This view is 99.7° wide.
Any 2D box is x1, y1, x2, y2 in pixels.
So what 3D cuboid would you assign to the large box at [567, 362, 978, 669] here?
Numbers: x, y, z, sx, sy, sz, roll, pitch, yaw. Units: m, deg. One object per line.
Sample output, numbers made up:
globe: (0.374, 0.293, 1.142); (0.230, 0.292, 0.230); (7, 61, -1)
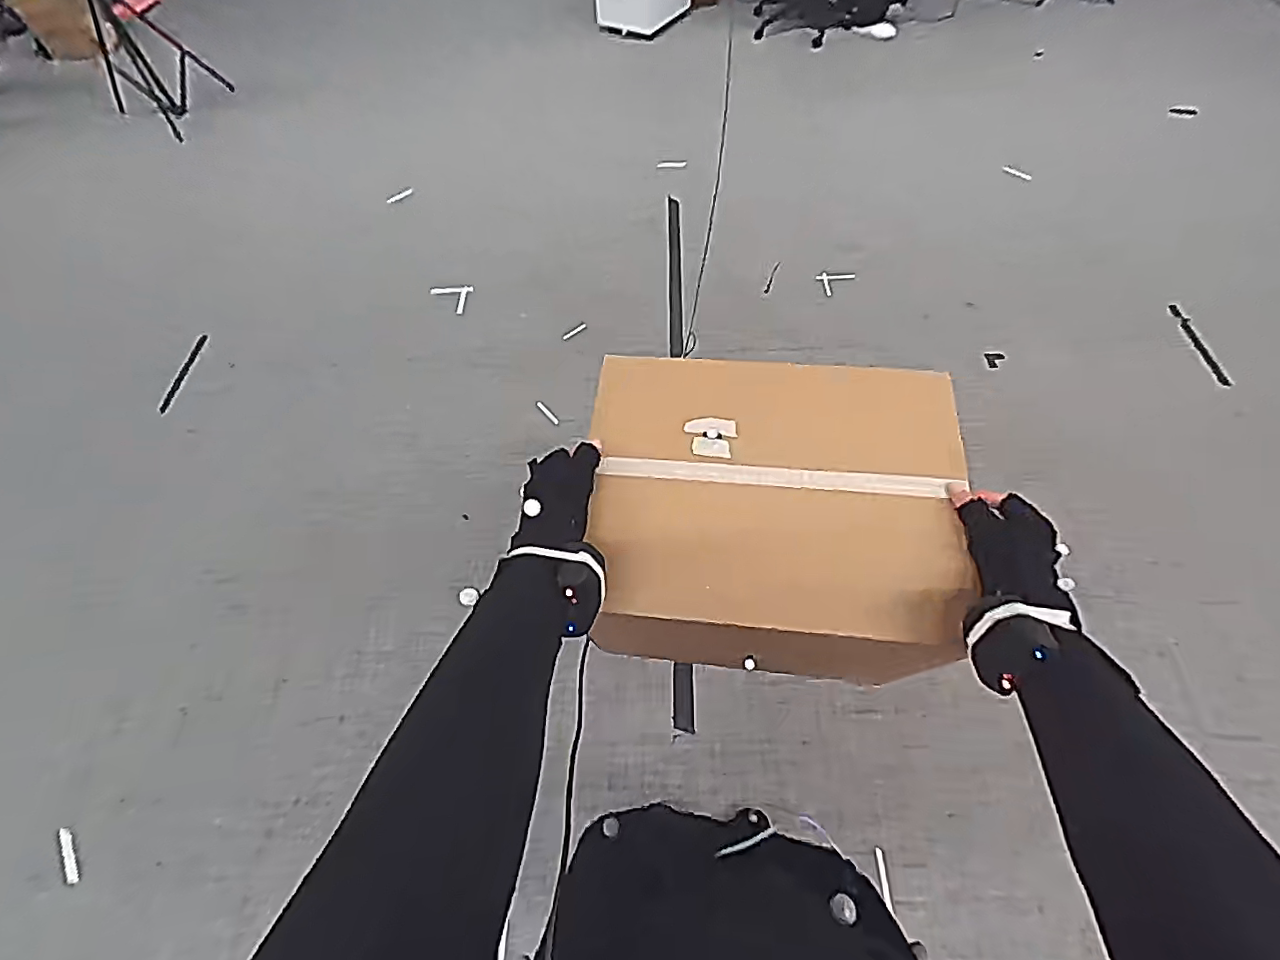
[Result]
large box: (0.151, 0.063, 0.724); (0.408, 0.320, 0.320); (4, 64, 7)
